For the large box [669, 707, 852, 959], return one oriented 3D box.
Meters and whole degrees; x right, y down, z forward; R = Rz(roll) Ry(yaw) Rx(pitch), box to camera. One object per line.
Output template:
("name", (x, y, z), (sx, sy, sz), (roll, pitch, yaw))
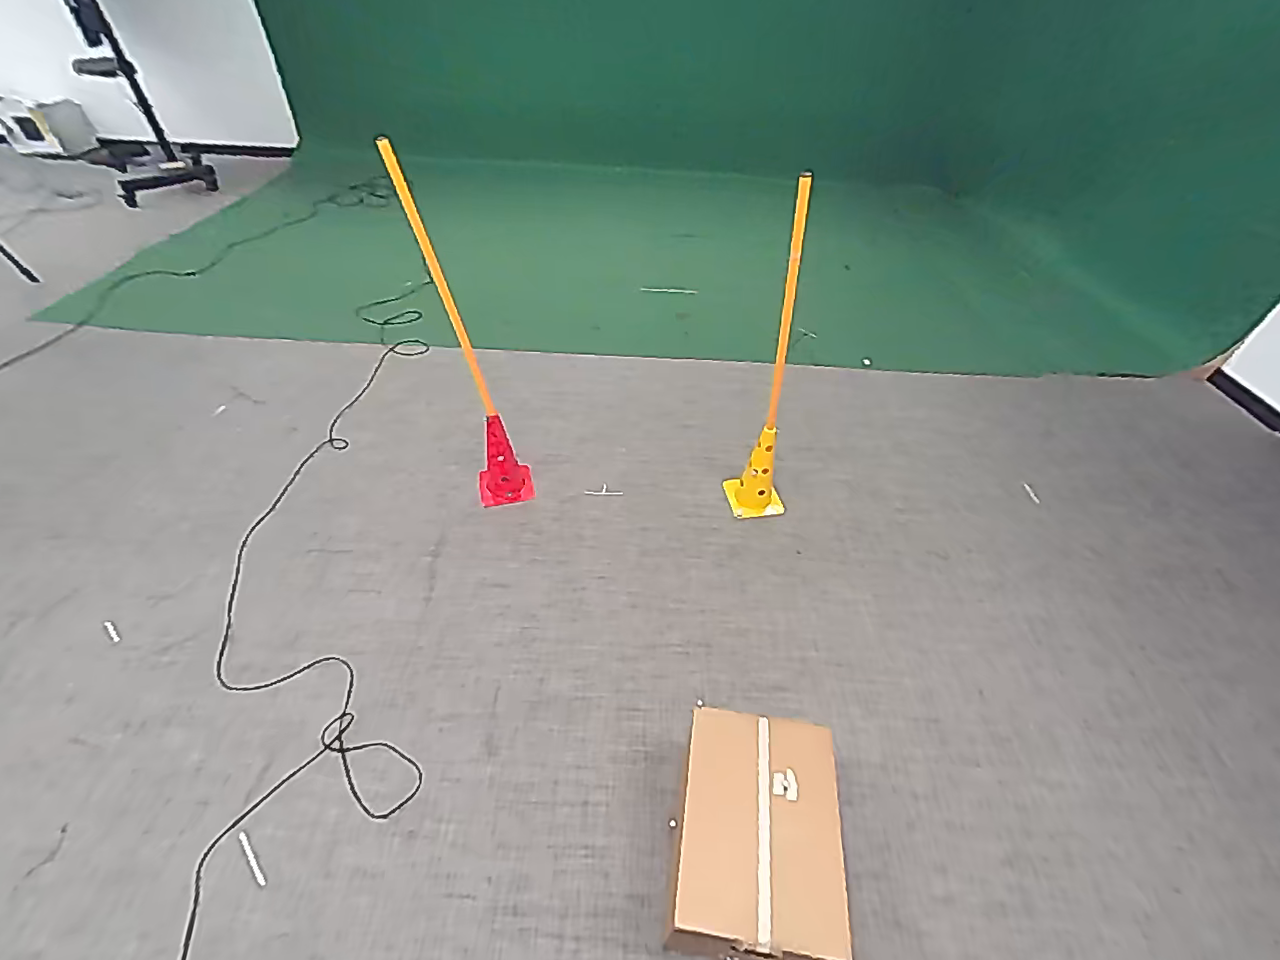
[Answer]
("large box", (0.242, 0.783, 1.188), (0.320, 0.320, 0.408), (8, 43, 5))
